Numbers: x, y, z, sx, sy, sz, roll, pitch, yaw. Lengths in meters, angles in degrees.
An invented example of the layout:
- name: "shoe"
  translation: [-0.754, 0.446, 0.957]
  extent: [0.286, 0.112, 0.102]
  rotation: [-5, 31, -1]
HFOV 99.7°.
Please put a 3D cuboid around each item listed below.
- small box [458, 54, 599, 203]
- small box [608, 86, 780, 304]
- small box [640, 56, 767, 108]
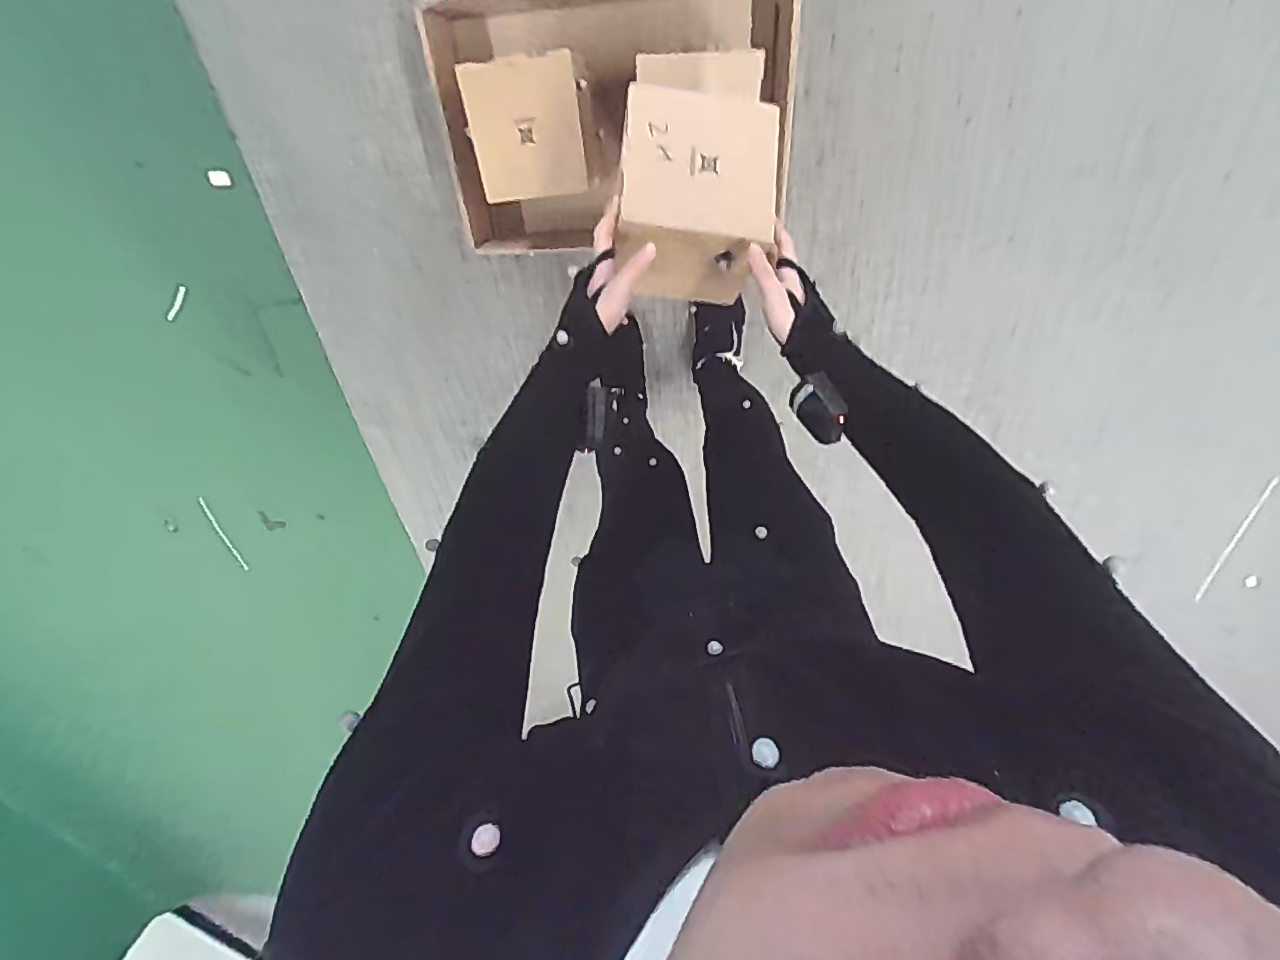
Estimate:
- name: "small box"
  translation: [-0.164, -0.558, 0.865]
  extent: [0.168, 0.176, 0.179]
  rotation: [-4, 123, 5]
- name: "small box"
  translation: [0.058, -0.335, 0.671]
  extent: [0.179, 0.176, 0.168]
  rotation: [5, 83, -5]
- name: "small box"
  translation: [0.092, -0.554, 0.842]
  extent: [0.179, 0.176, 0.168]
  rotation: [2, 125, 4]
